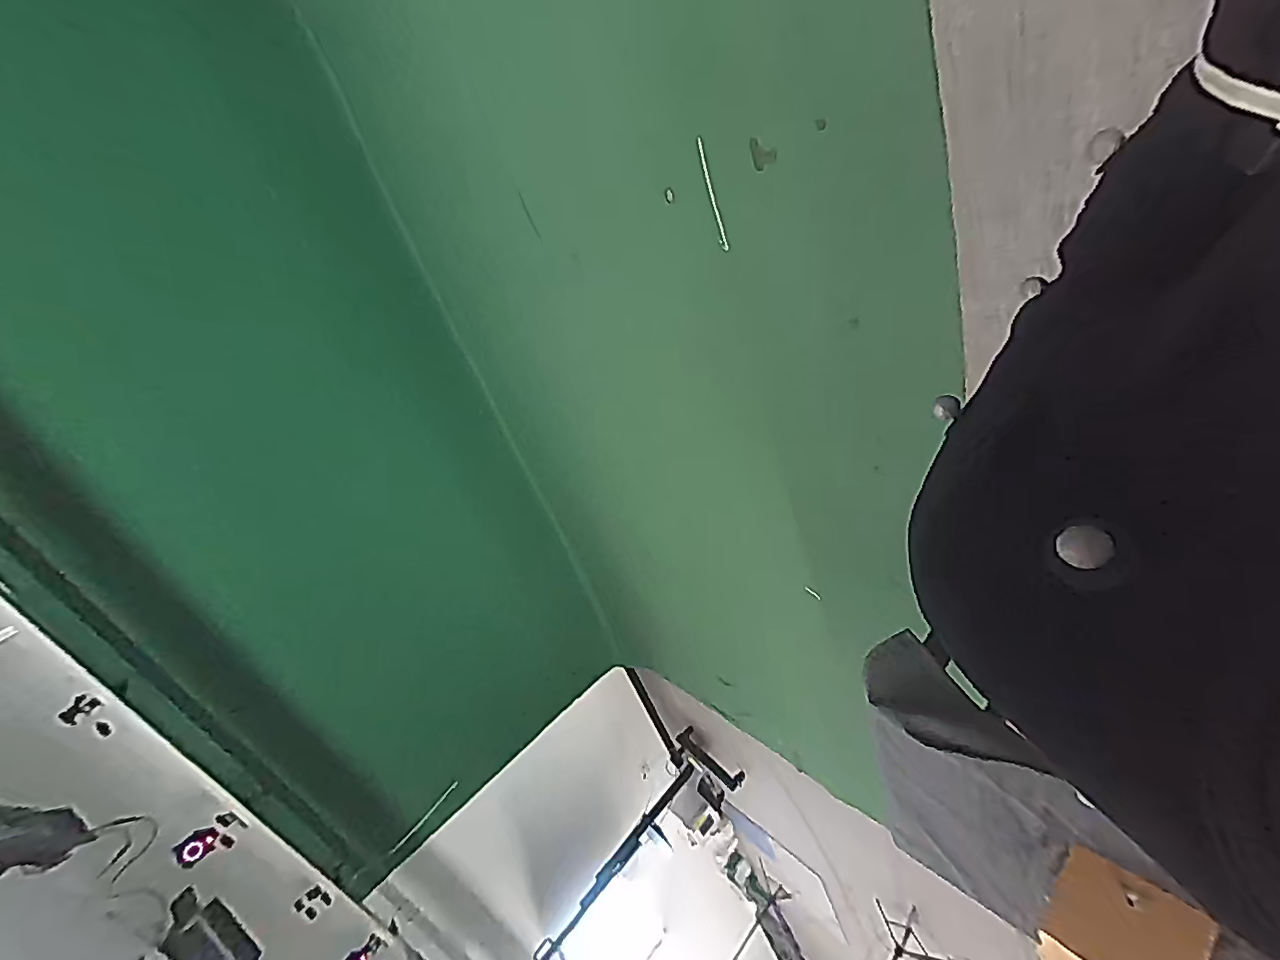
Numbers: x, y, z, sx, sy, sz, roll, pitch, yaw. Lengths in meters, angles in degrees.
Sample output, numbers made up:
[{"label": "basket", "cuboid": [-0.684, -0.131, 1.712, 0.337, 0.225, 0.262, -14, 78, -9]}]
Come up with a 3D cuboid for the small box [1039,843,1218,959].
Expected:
[{"label": "small box", "cuboid": [0.776, 0.731, 0.868, 0.179, 0.176, 0.168, 15, 135, 50]}]
